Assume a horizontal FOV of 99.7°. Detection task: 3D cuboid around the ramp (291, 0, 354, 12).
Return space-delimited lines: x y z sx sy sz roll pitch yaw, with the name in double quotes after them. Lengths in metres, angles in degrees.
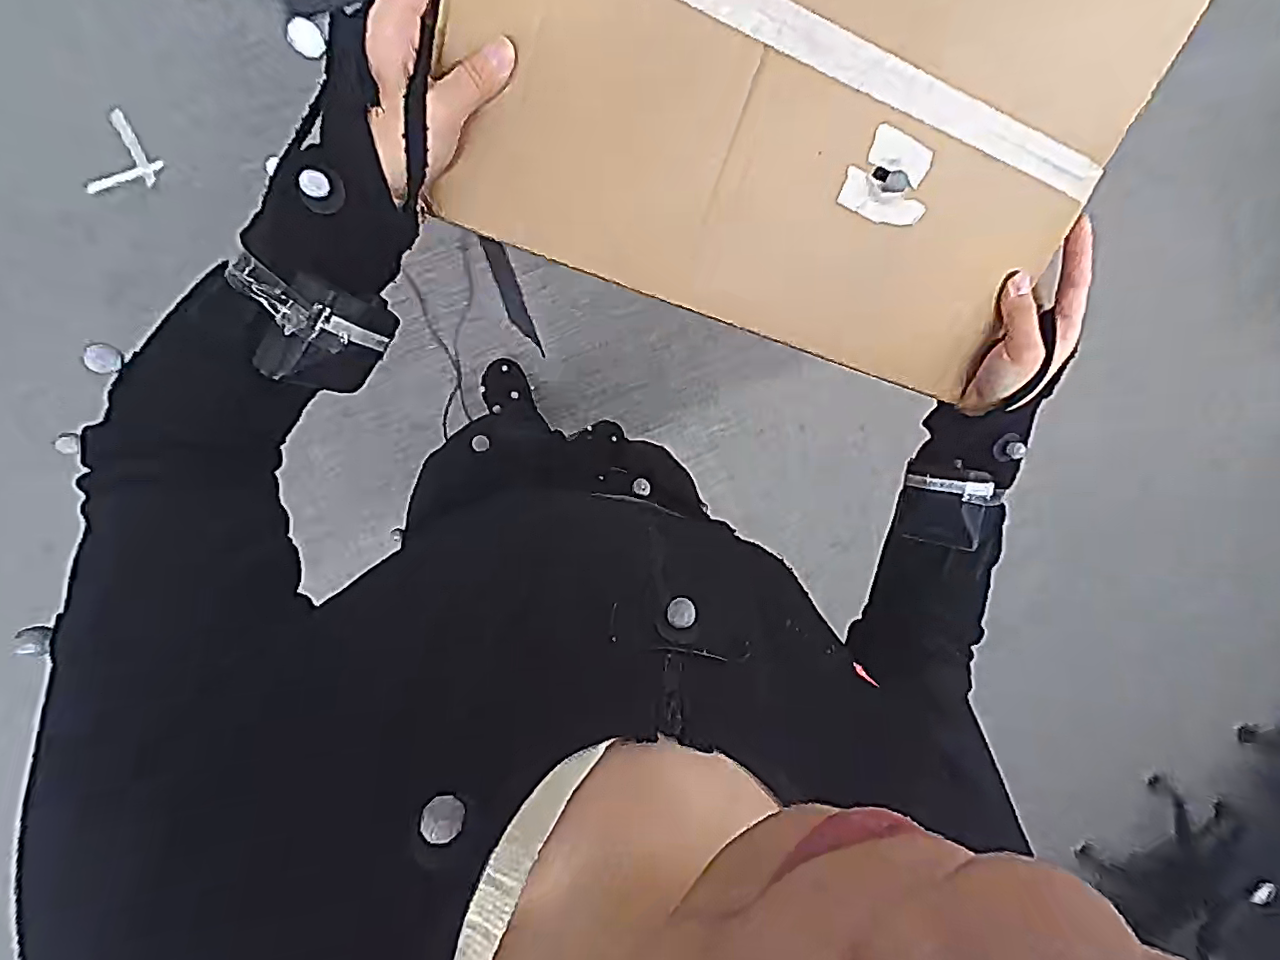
-0.604 -1.450 0.900 0.509 0.206 0.991 -22 105 -6 "ramp"
